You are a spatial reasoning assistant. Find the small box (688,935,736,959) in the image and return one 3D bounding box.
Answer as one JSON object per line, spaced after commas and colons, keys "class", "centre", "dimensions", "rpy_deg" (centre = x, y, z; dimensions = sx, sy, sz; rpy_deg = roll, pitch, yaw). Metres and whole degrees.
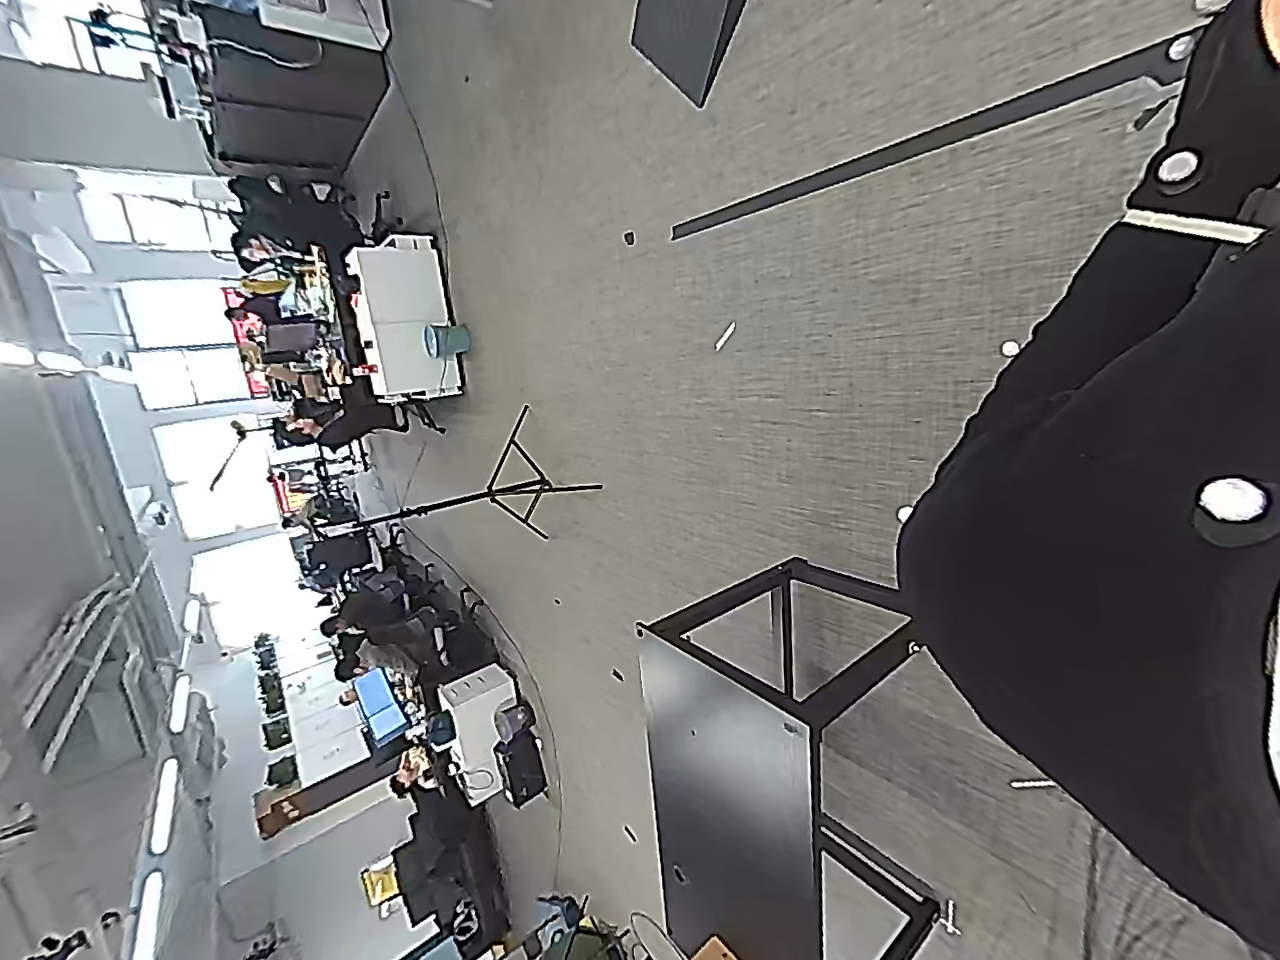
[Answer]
{"class": "small box", "centre": [0.210, 1.460, 1.526], "dimensions": [0.168, 0.176, 0.179], "rpy_deg": [10, 110, 52]}
